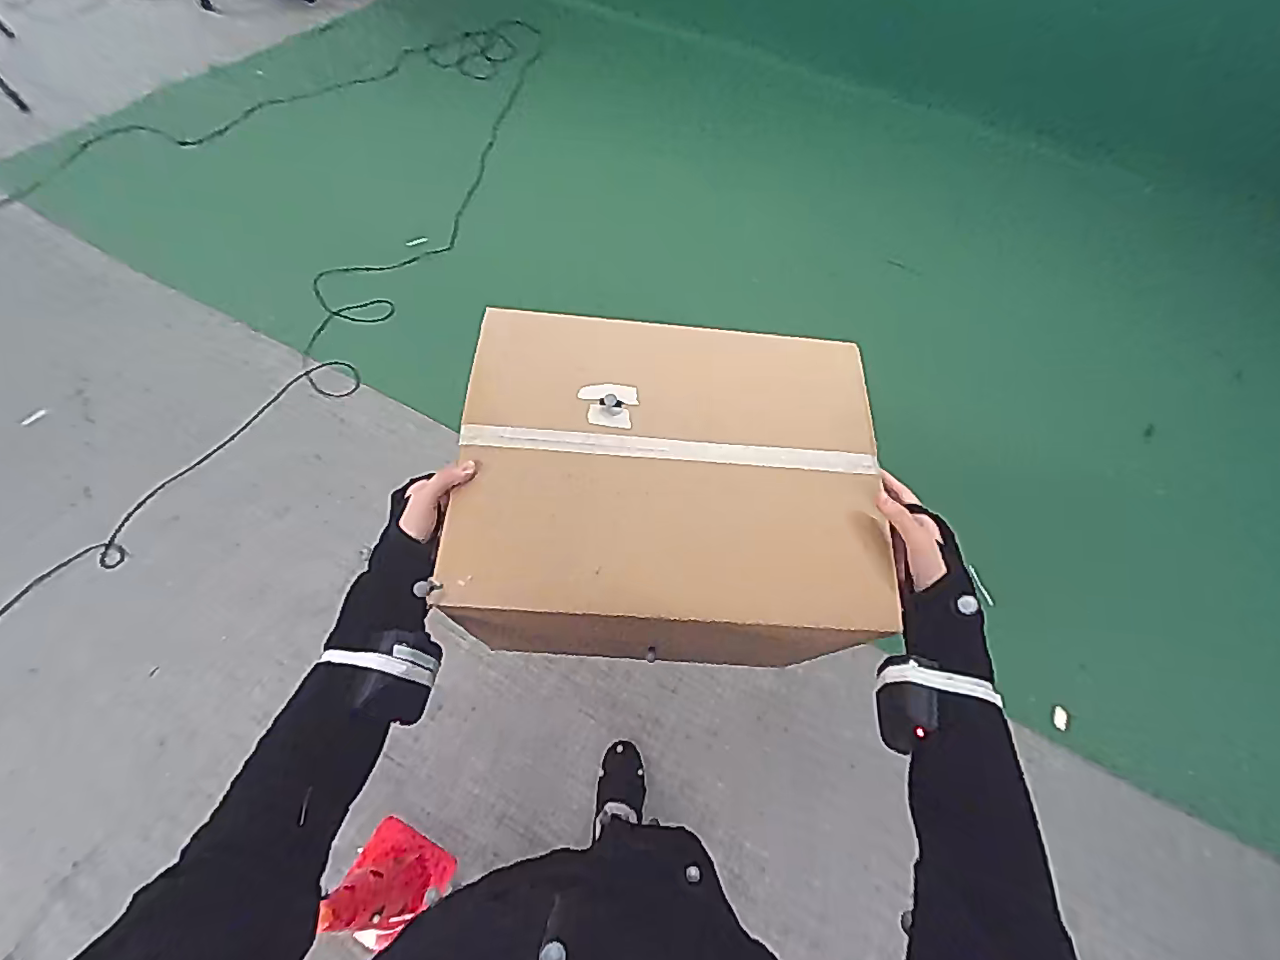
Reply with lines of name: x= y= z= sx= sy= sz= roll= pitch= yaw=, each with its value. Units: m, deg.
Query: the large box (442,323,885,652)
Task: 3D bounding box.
large box: x=0.020 y=0.038 z=0.670 sx=0.408 sy=0.320 sz=0.320 roll=4 pitch=66 yaw=-3
